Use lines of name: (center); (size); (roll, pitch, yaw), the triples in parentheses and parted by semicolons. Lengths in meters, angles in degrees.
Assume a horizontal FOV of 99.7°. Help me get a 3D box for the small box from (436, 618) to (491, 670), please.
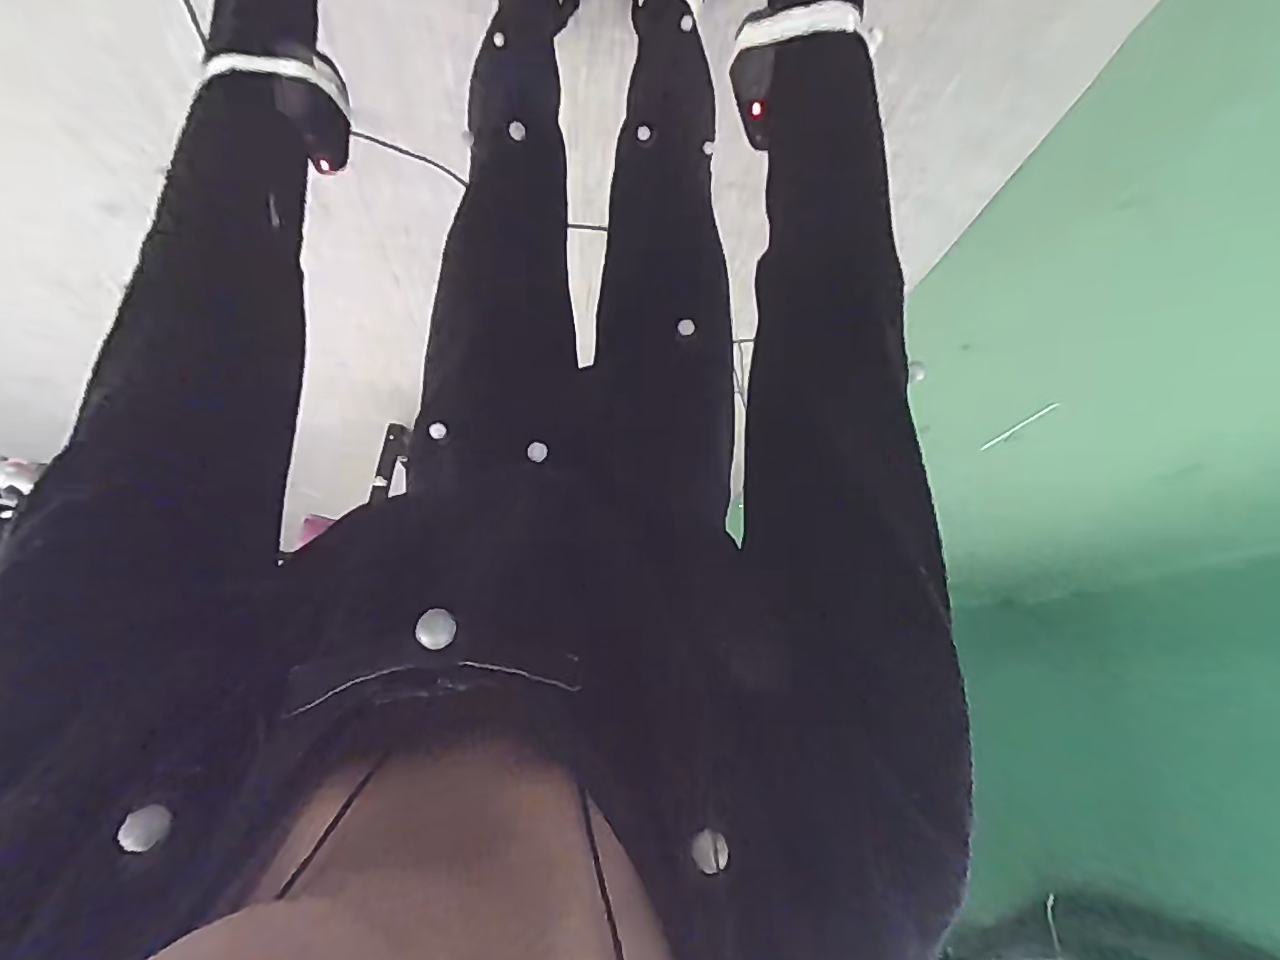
small box: (-0.656, 0.613, 2.021); (0.179, 0.176, 0.168); (8, 155, -14)
